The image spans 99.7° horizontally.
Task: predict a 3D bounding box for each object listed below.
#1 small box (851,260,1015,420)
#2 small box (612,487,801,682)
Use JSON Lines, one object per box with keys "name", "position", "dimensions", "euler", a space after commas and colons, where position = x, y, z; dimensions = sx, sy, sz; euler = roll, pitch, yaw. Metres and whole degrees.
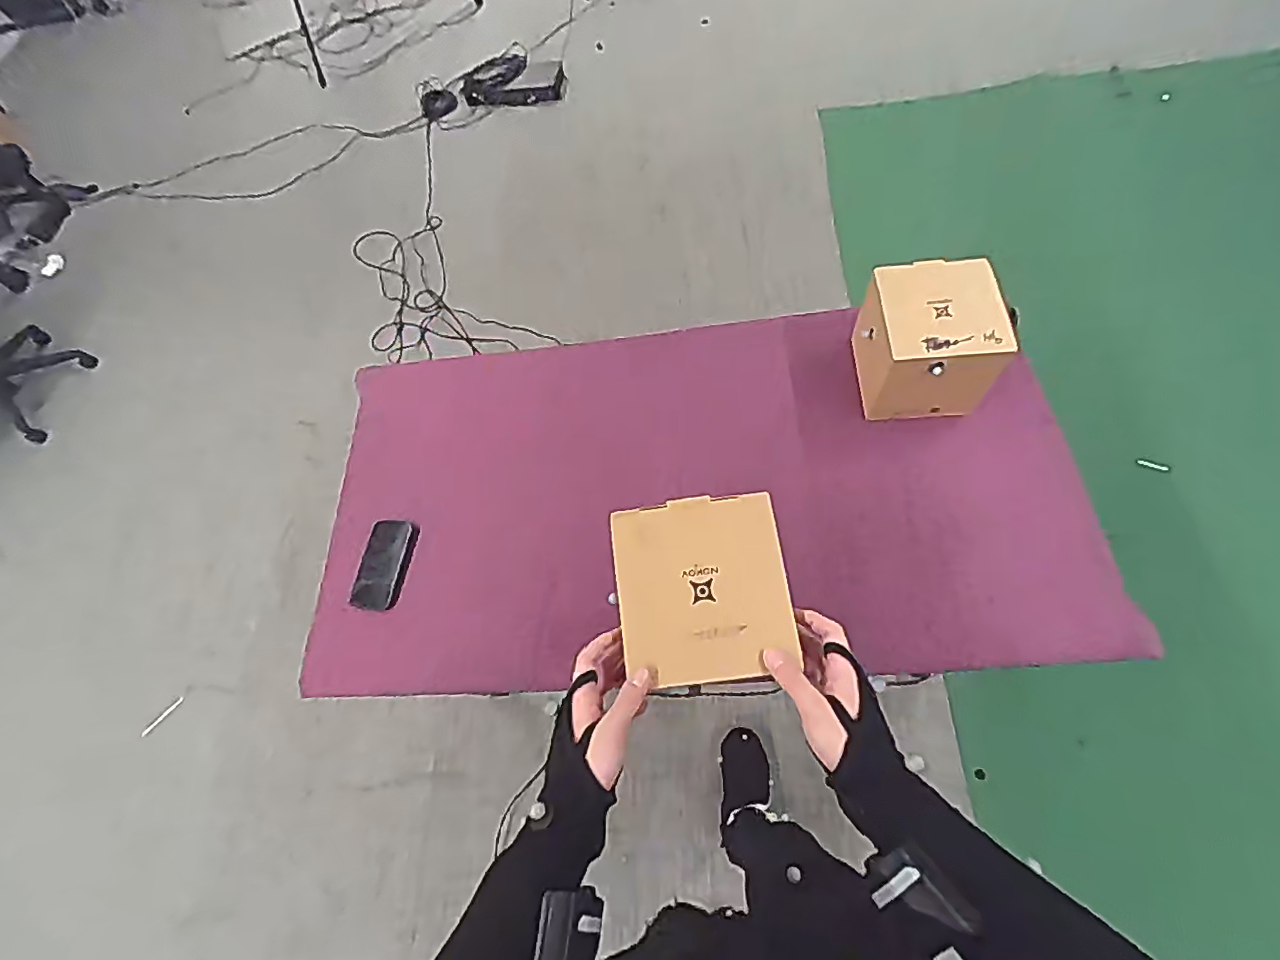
{"name": "small box", "position": [0.444, -0.214, 0.854], "dimensions": [0.168, 0.176, 0.179], "euler": [-3, 64, 8]}
{"name": "small box", "position": [0.063, 0.122, 0.597], "dimensions": [0.168, 0.176, 0.179], "euler": [-7, 72, 2]}
